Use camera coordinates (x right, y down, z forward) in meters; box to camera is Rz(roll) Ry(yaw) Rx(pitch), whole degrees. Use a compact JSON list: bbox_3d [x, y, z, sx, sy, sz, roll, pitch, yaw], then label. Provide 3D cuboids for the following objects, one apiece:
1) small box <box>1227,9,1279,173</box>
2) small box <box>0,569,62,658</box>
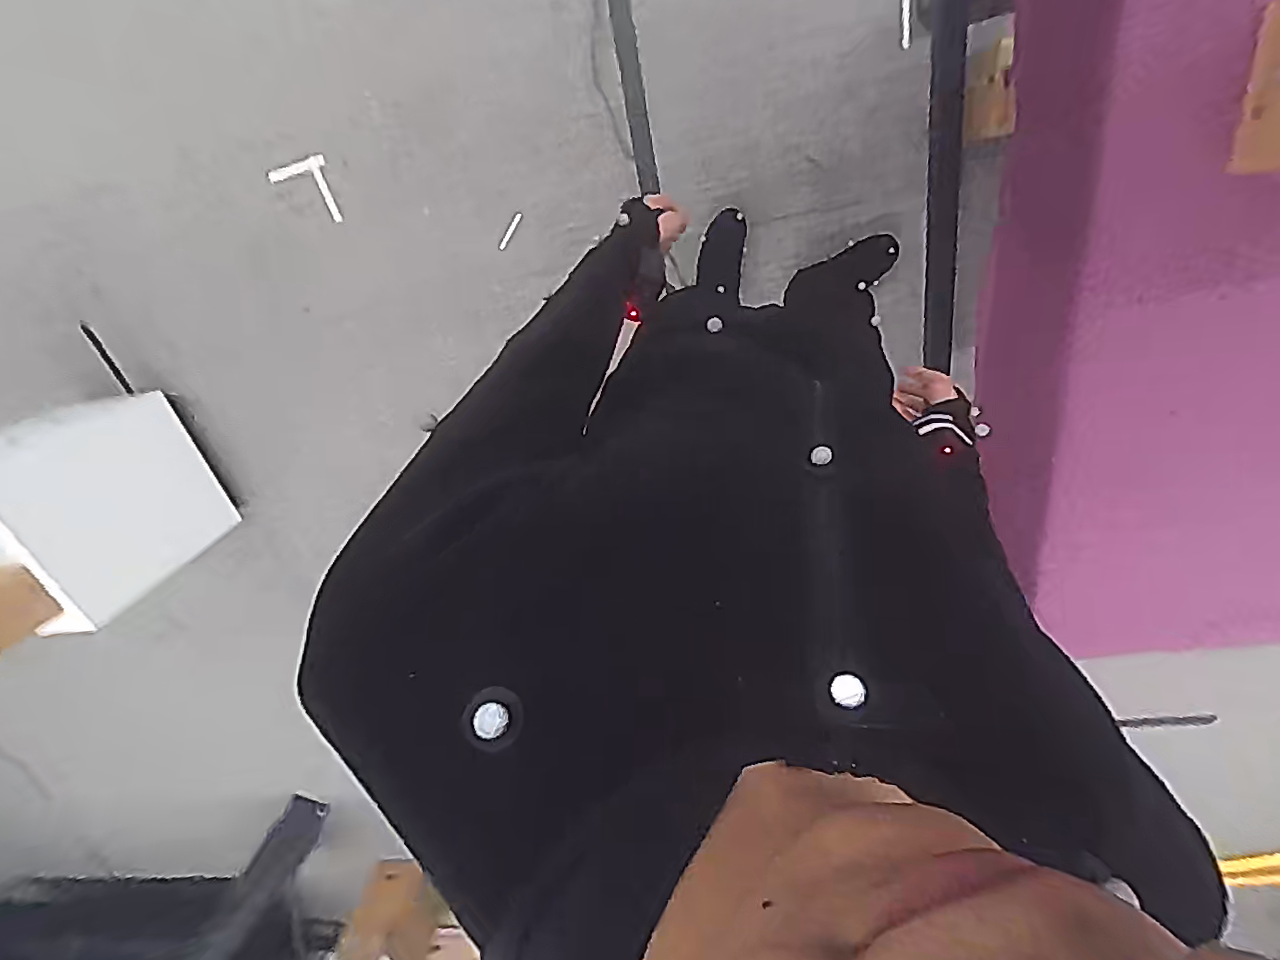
[{"bbox_3d":[0.764,-0.412,0.529,0.179,0.176,0.168,-8,118,11],"label":"small box"},{"bbox_3d":[-1.676,0.346,1.387,0.179,0.176,0.168,-5,119,10],"label":"small box"}]
